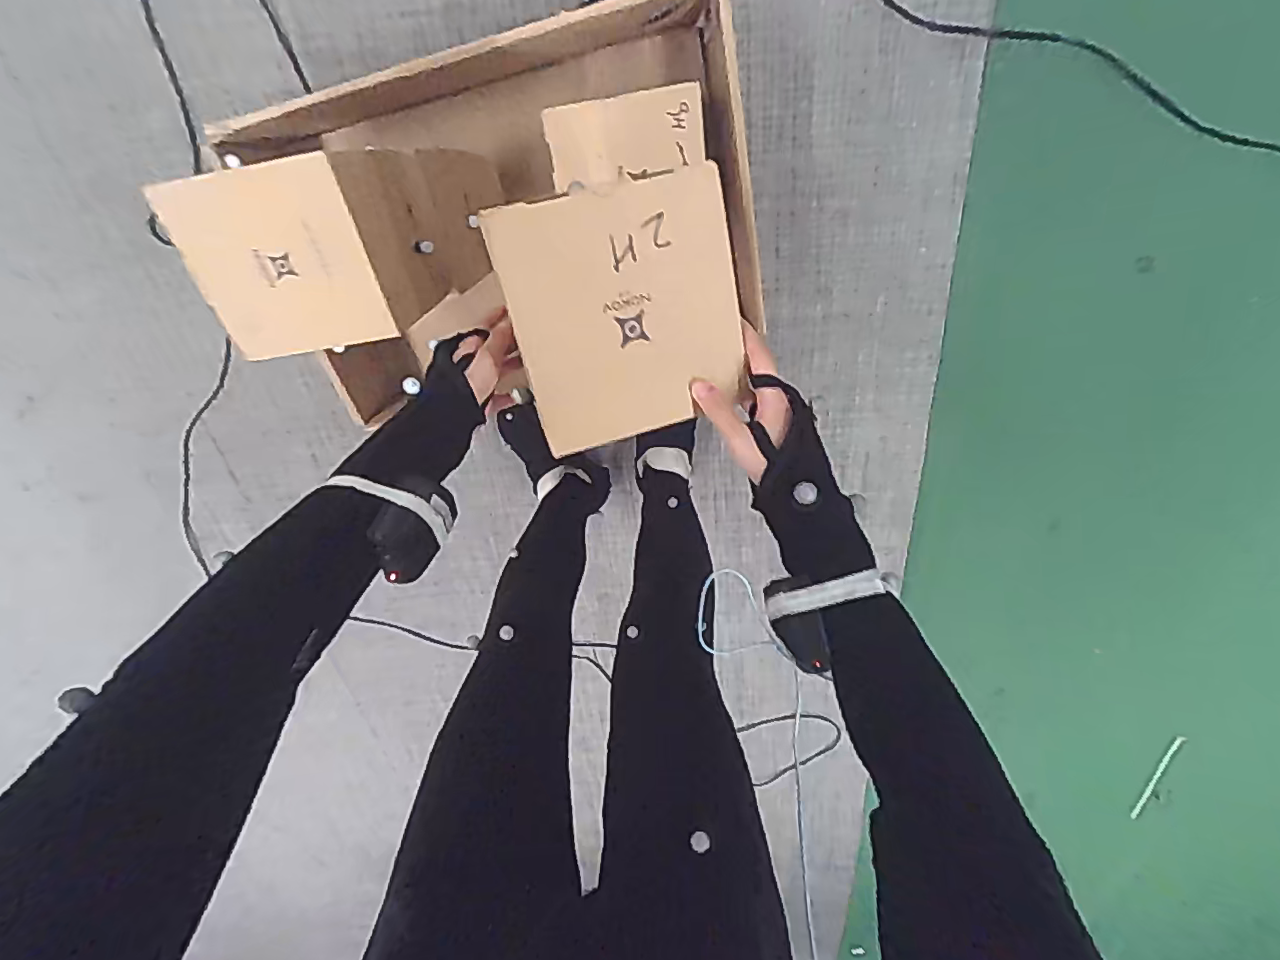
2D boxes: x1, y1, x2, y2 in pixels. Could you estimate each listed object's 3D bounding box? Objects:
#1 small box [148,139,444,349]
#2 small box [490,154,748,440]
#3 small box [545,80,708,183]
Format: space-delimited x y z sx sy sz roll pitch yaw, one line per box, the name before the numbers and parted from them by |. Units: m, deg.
small box | -0.337 -0.253 0.576 0.179 0.176 0.168 -7 122 3
small box | -0.021 -0.156 0.467 0.168 0.176 0.179 -15 113 -8
small box | -0.007 -0.385 0.684 0.179 0.176 0.168 -6 120 4
